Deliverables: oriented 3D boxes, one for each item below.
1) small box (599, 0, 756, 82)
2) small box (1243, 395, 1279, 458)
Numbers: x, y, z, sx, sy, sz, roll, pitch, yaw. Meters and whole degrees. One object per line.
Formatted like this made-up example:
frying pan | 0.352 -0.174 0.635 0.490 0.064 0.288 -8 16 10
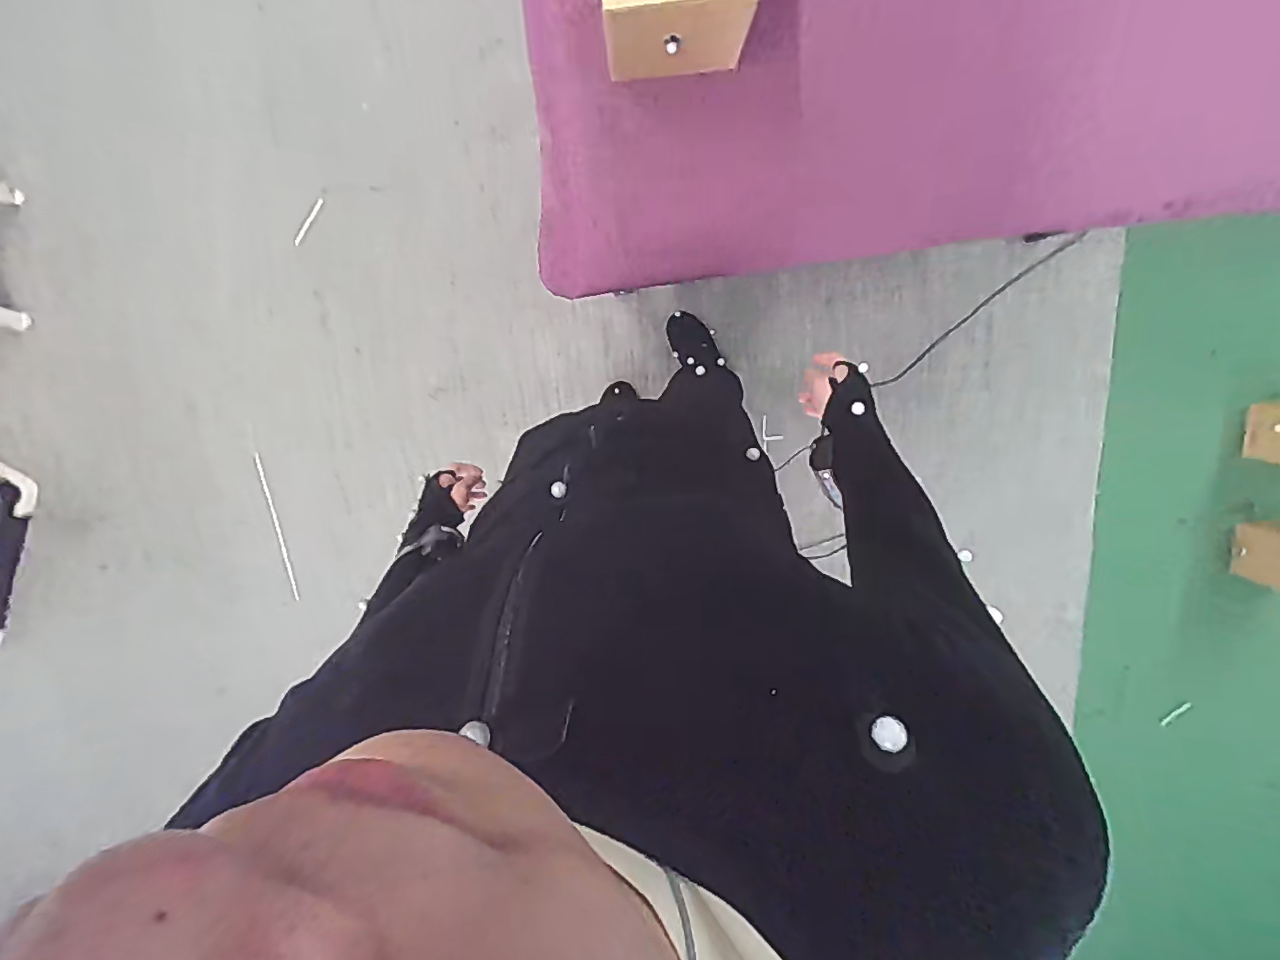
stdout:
small box | 0.036 -0.615 0.648 0.179 0.176 0.168 -6 104 2
small box | 1.857 -0.150 1.505 0.179 0.176 0.168 -8 103 1
